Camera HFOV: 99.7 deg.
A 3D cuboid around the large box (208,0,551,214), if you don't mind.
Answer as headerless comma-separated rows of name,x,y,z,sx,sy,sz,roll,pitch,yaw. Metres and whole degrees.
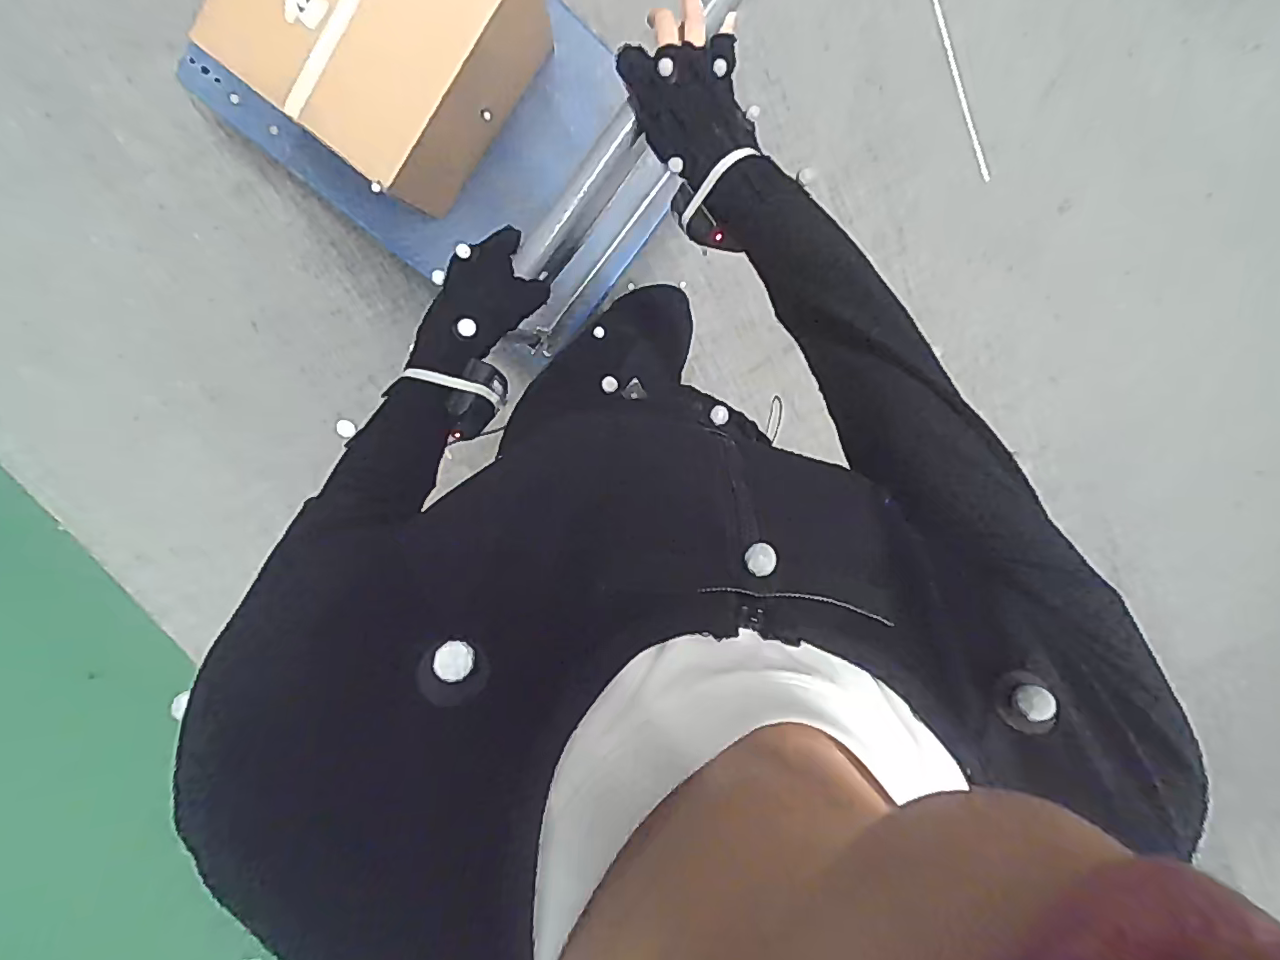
large box,-0.391,-0.736,0.906,0.320,0.320,0.408,36,103,-14
